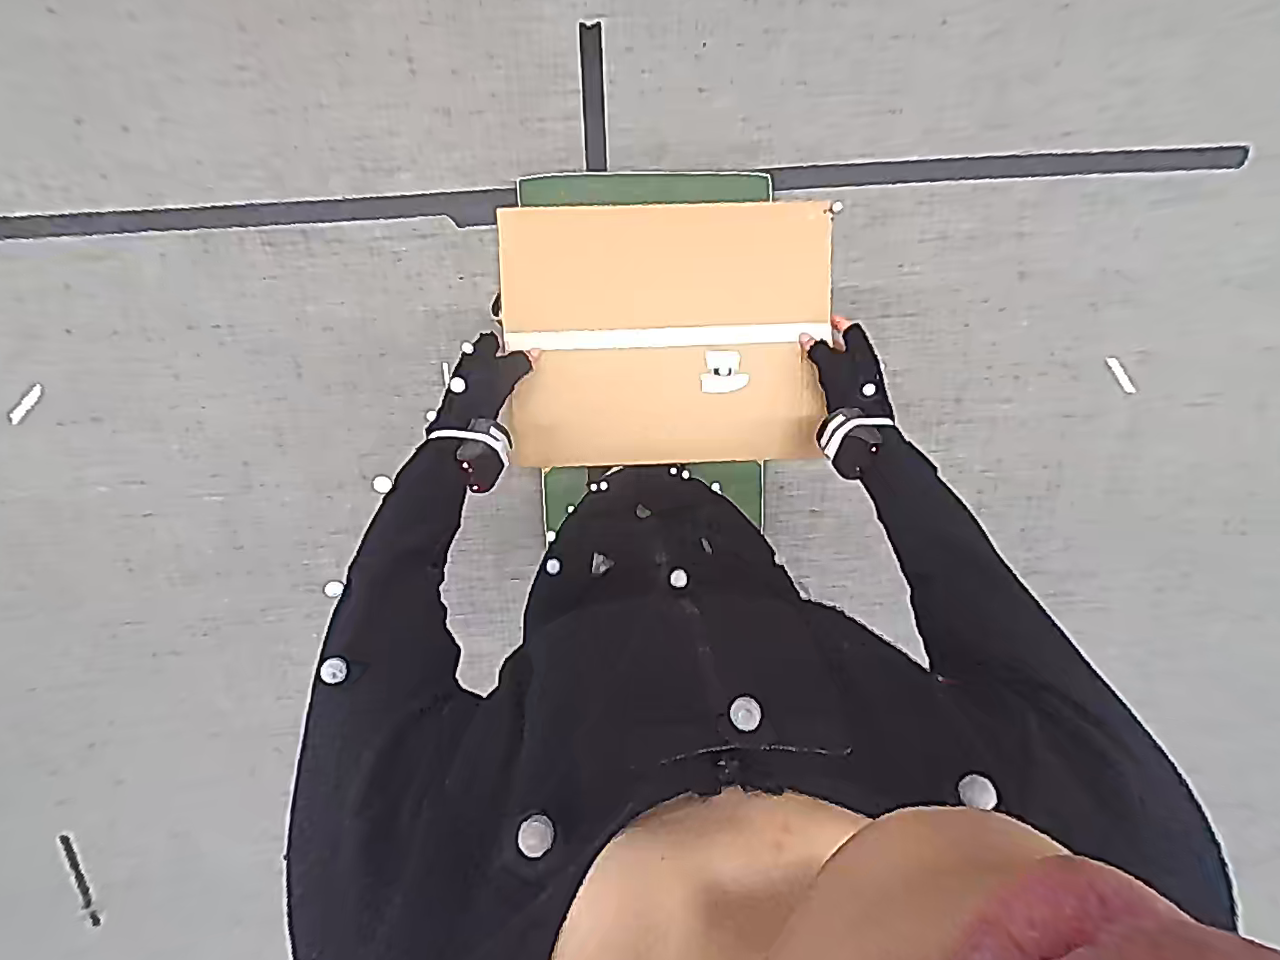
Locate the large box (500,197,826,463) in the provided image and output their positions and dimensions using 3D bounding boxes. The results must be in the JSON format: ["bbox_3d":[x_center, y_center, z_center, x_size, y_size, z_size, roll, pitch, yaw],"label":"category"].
[{"bbox_3d":[0.028,-0.200,0.823,0.408,0.320,0.320,-2,96,-2],"label":"large box"}]
